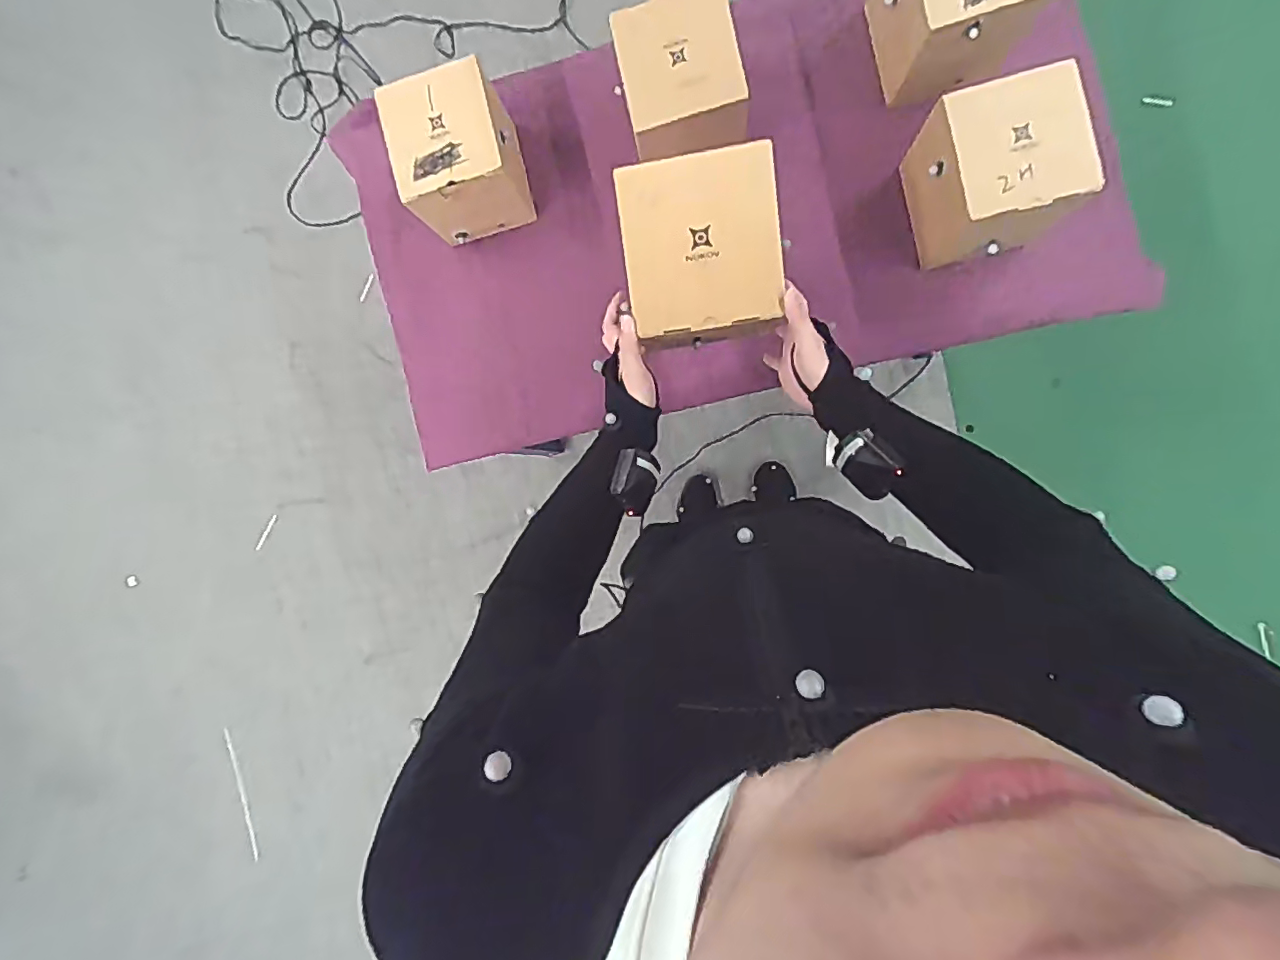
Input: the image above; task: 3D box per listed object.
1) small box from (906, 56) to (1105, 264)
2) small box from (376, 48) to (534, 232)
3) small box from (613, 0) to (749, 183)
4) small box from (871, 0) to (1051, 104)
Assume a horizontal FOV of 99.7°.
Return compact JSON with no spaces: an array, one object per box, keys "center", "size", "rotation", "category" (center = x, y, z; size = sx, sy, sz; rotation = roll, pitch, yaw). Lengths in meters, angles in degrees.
[{"center":[0.503,-0.441,0.773],"size":[0.168,0.176,0.179],"rotation":[-11,89,8],"category":"small box"},{"center":[-0.284,-0.524,0.868],"size":[0.168,0.176,0.179],"rotation":[-13,89,6],"category":"small box"},{"center":[0.064,-0.599,0.828],"size":[0.168,0.176,0.179],"rotation":[-12,91,8],"category":"small box"},{"center":[0.451,-0.698,0.777],"size":[0.168,0.176,0.179],"rotation":[-13,90,8],"category":"small box"}]
